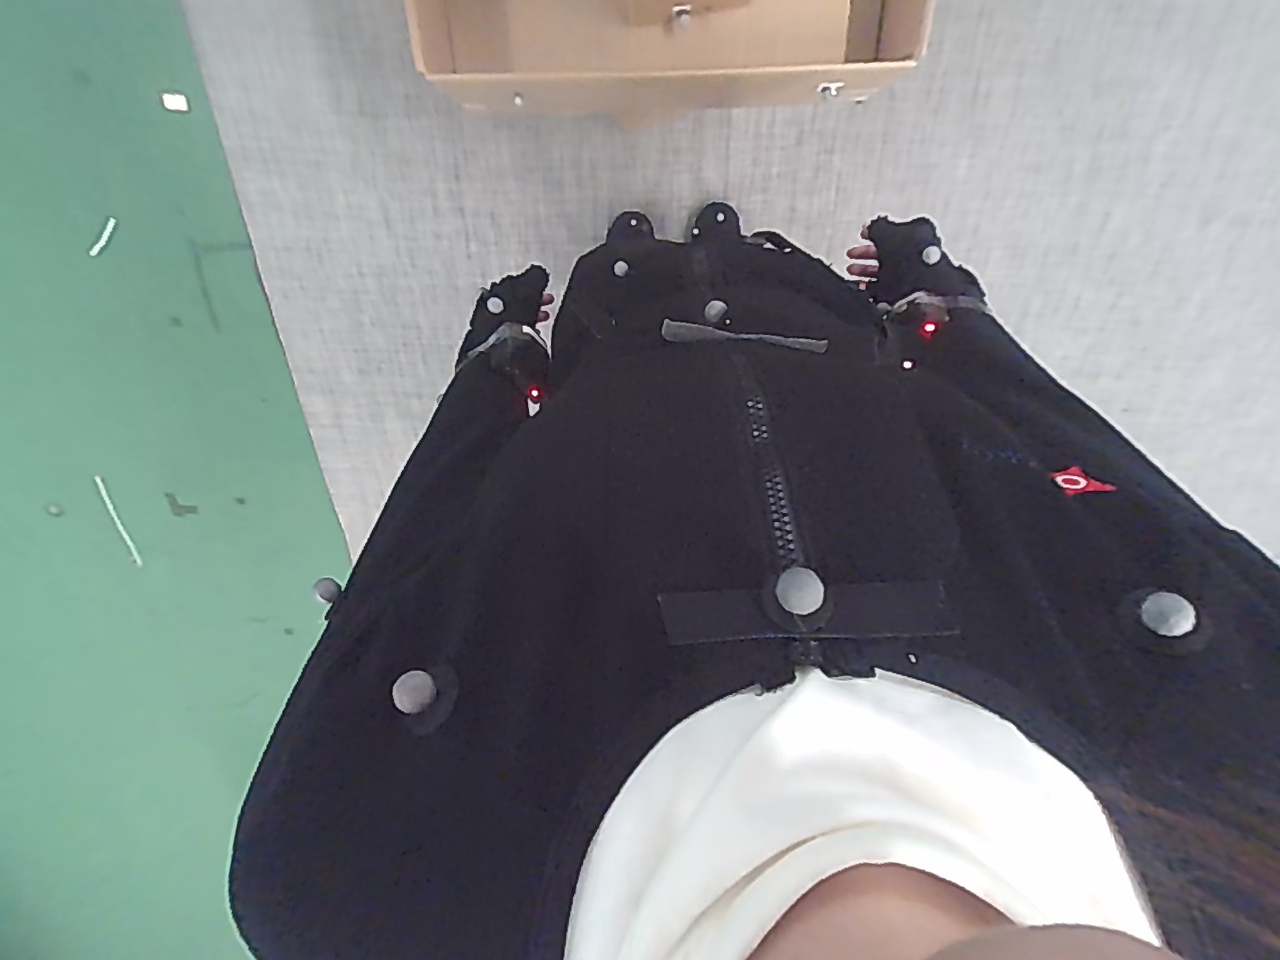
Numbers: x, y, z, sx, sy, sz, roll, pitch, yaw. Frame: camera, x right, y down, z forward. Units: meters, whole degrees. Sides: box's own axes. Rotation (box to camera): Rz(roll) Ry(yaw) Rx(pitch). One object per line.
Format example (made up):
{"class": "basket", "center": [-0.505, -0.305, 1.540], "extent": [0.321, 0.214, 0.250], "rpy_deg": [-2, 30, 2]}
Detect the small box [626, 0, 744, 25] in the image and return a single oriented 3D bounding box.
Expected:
{"class": "small box", "center": [0.051, -0.678, 0.632], "extent": [0.168, 0.176, 0.179], "rpy_deg": [-6, 117, 6]}
